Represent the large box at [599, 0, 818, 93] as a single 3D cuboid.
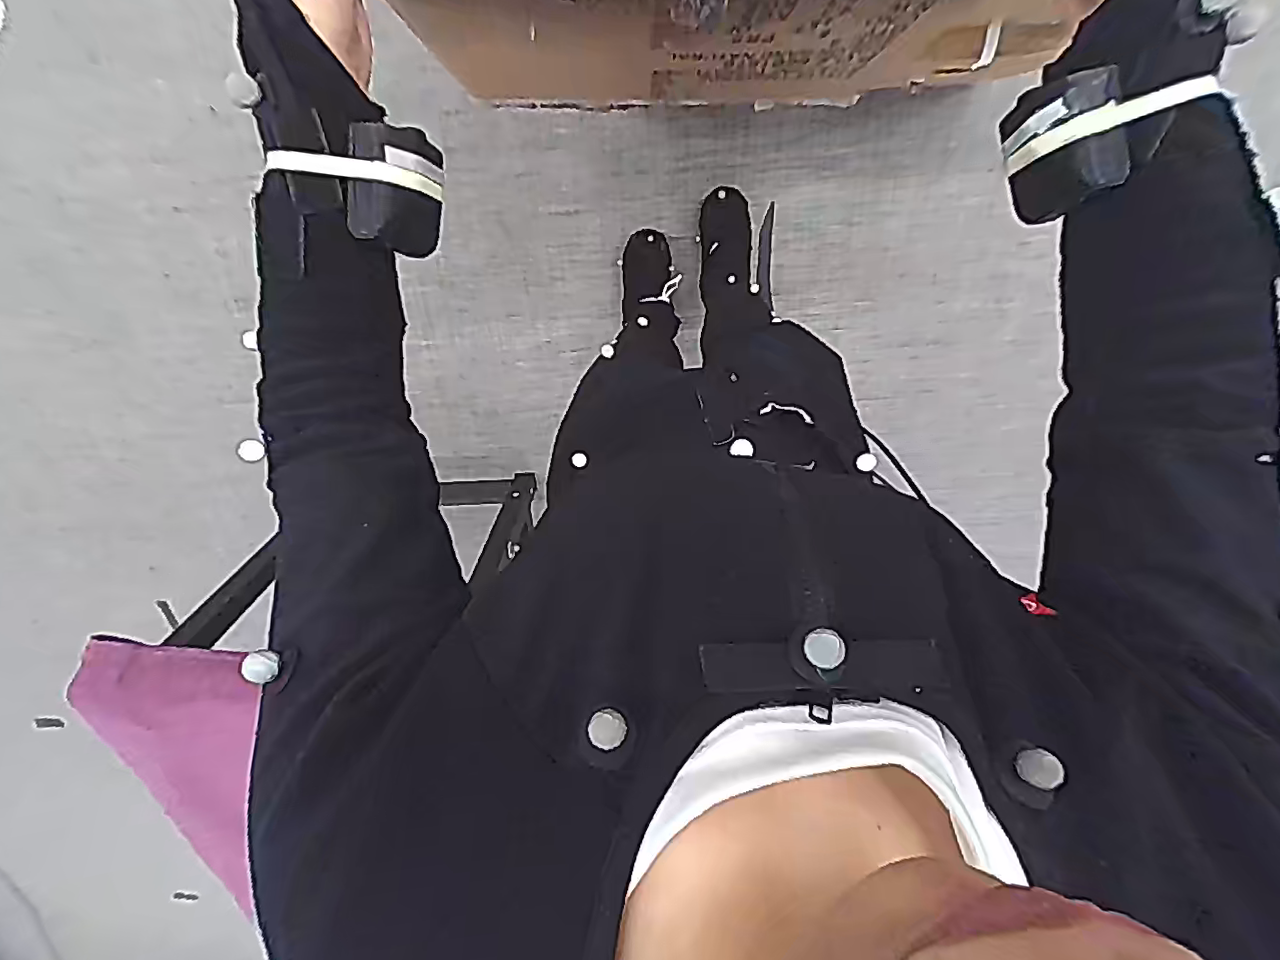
[{"bbox_3d":[0.086,-0.868,0.828,0.320,0.320,0.408,-3,120,3],"label":"large box"}]
